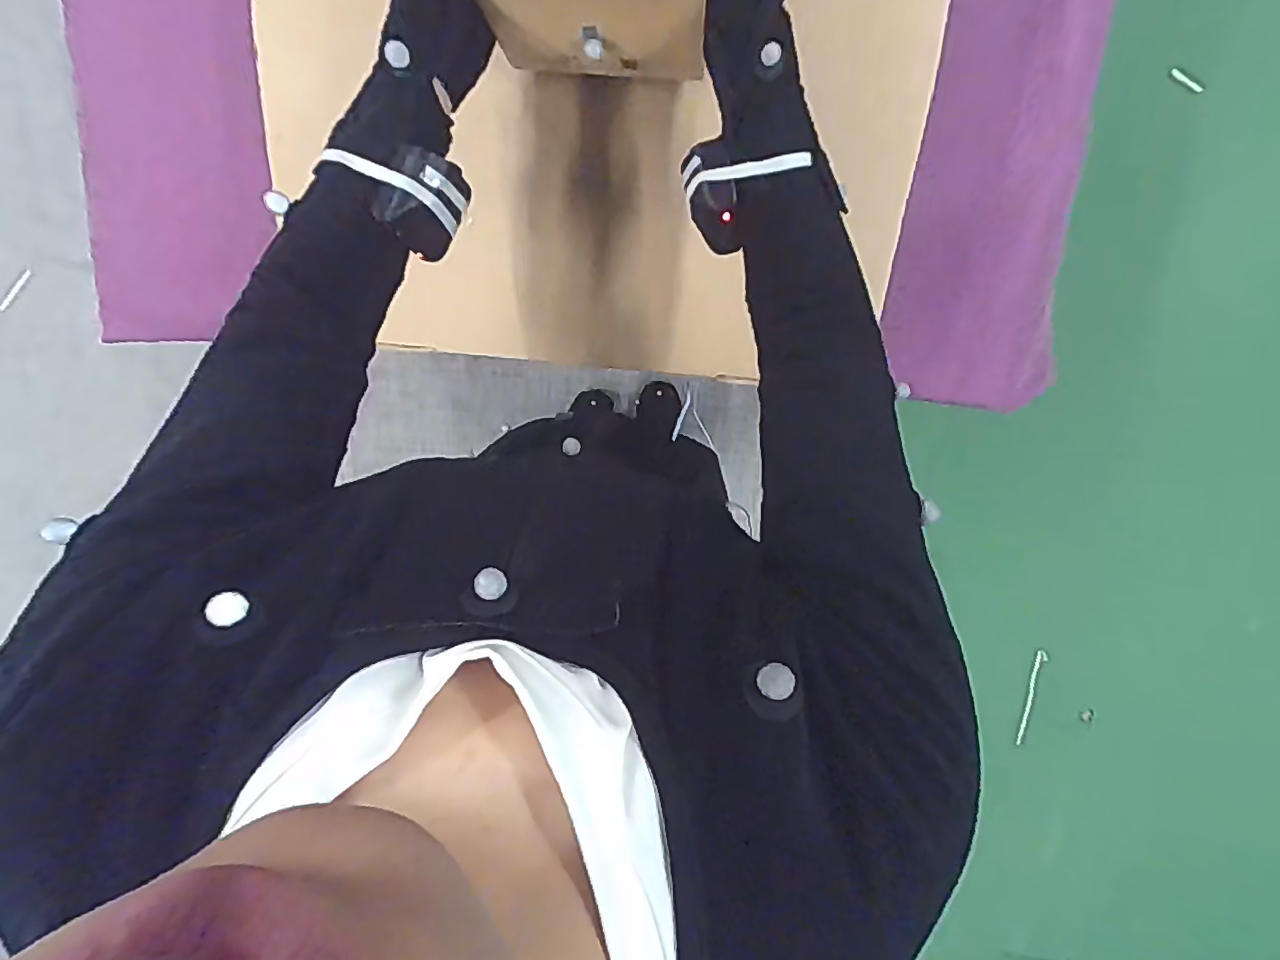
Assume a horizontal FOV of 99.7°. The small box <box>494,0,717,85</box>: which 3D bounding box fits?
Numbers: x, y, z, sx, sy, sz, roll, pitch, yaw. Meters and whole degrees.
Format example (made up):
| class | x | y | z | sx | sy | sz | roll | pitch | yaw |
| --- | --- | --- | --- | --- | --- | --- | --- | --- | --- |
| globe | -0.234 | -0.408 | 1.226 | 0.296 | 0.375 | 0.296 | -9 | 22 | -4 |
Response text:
| class | x | y | z | sx | sy | sz | roll | pitch | yaw |
| --- | --- | --- | --- | --- | --- | --- | --- | --- | --- |
| small box | -0.021 | -0.409 | 0.359 | 0.168 | 0.176 | 0.179 | 7 | 102 | 3 |
